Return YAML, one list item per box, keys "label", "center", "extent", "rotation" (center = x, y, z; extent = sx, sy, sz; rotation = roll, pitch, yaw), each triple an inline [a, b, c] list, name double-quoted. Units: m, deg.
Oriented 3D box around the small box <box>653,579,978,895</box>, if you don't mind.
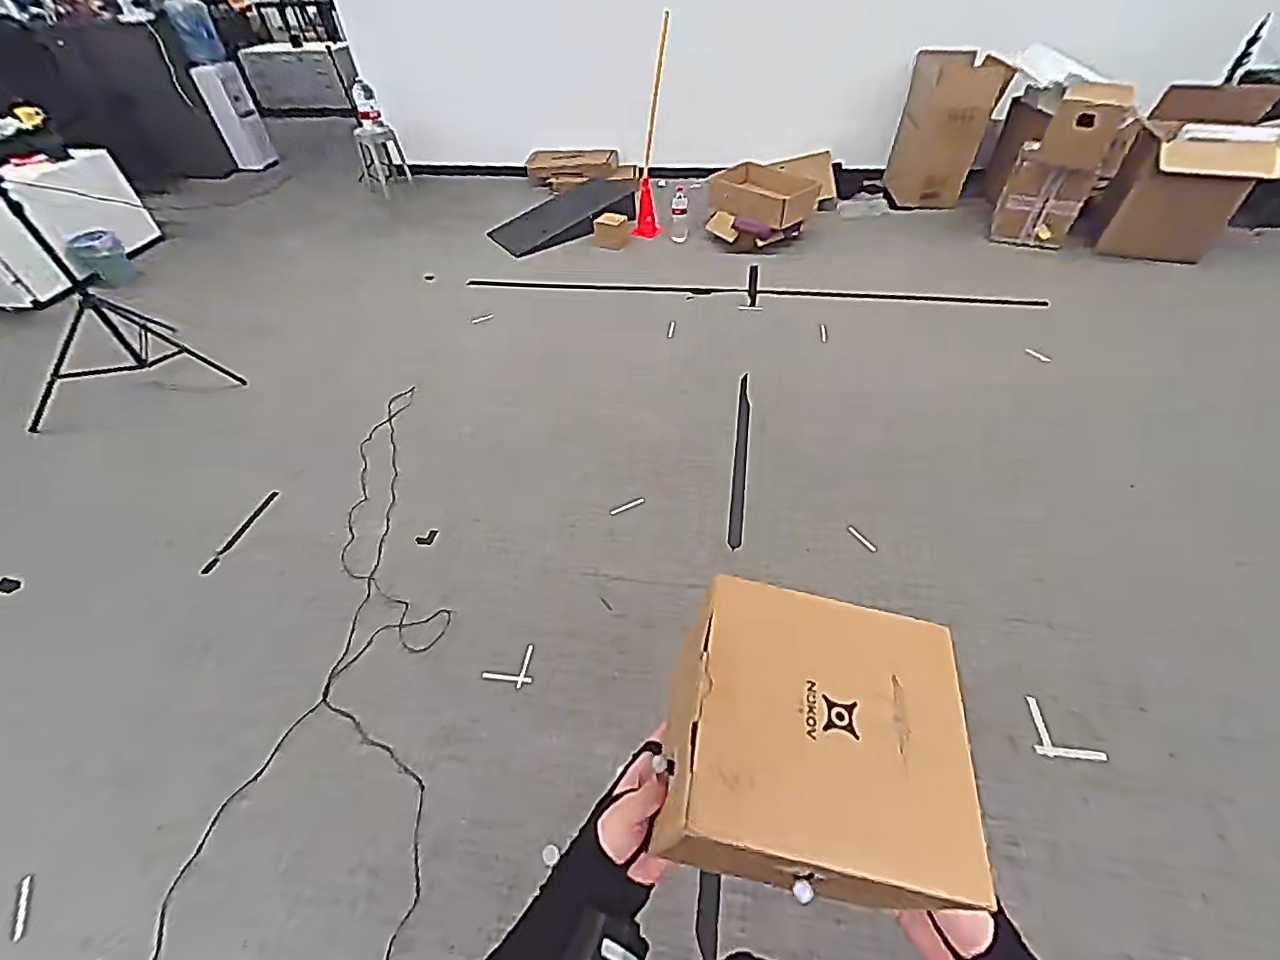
- label: "small box"
  center: [0.114, 0.203, 0.419]
  extent: [0.179, 0.176, 0.168]
  rotation: [13, 52, 1]
